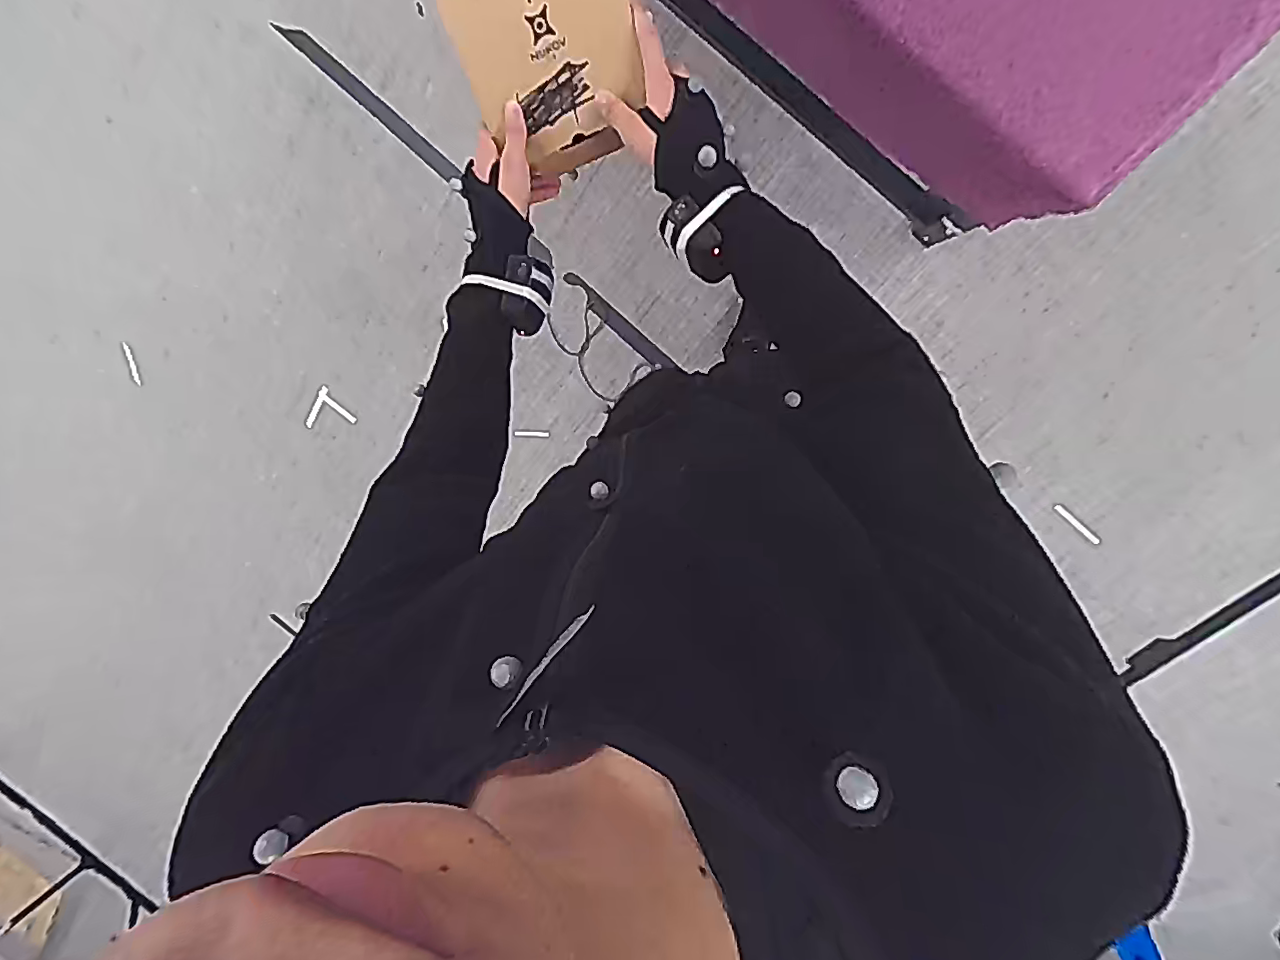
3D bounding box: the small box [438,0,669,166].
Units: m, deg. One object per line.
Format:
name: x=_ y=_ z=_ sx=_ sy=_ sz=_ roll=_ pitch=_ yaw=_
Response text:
small box: x=-0.077 y=-0.446 z=0.555 sx=0.168 sy=0.176 sz=0.179 roll=-15 pitch=114 yaw=17
